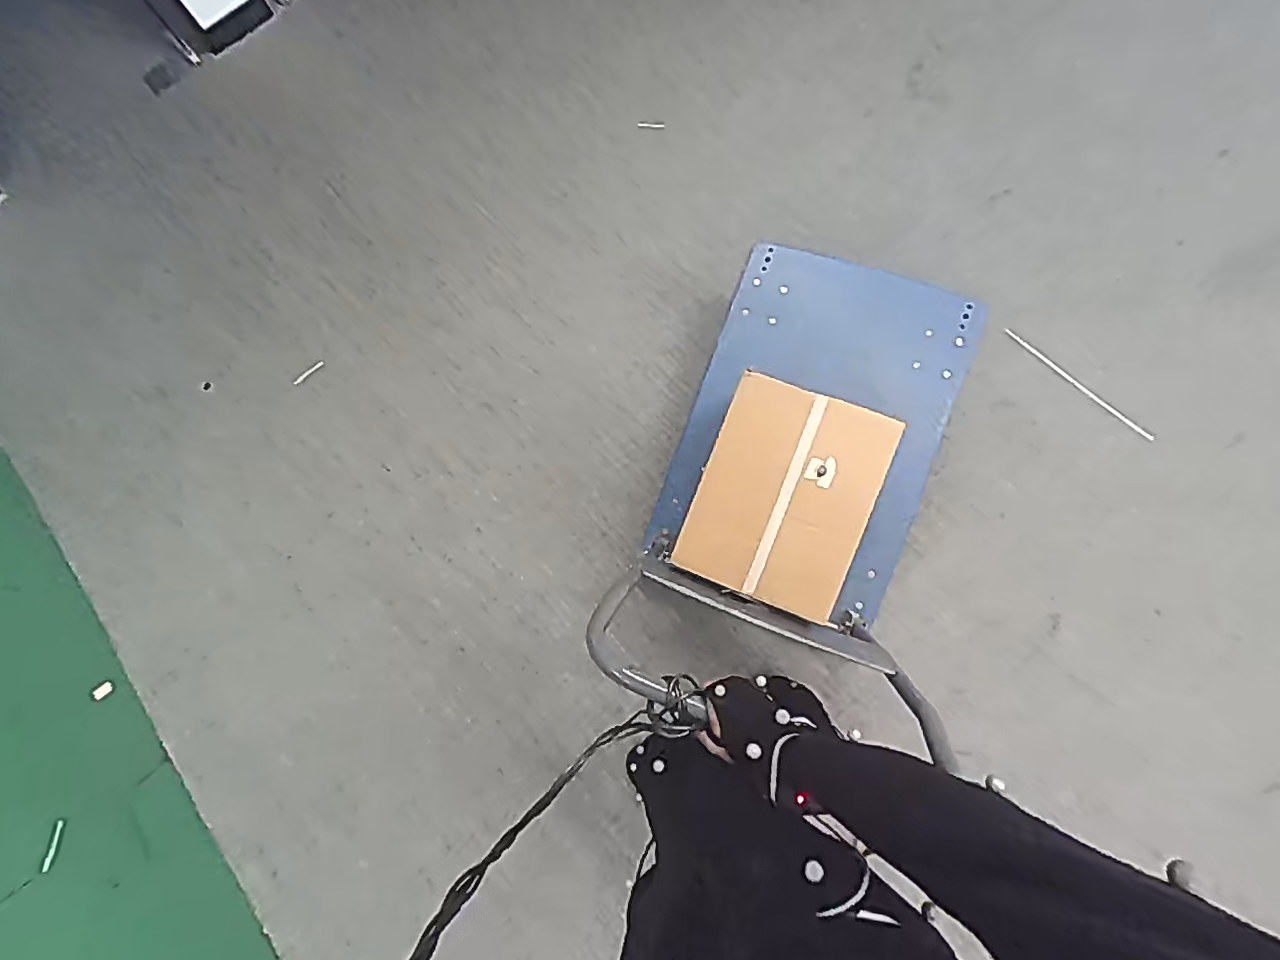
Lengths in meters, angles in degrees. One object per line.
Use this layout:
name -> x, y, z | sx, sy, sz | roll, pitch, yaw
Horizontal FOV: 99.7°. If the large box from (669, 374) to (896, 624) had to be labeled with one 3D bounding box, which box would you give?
large box -> 0.288, 0.041, 1.168 | 0.320, 0.320, 0.408 | 22, 90, 9
